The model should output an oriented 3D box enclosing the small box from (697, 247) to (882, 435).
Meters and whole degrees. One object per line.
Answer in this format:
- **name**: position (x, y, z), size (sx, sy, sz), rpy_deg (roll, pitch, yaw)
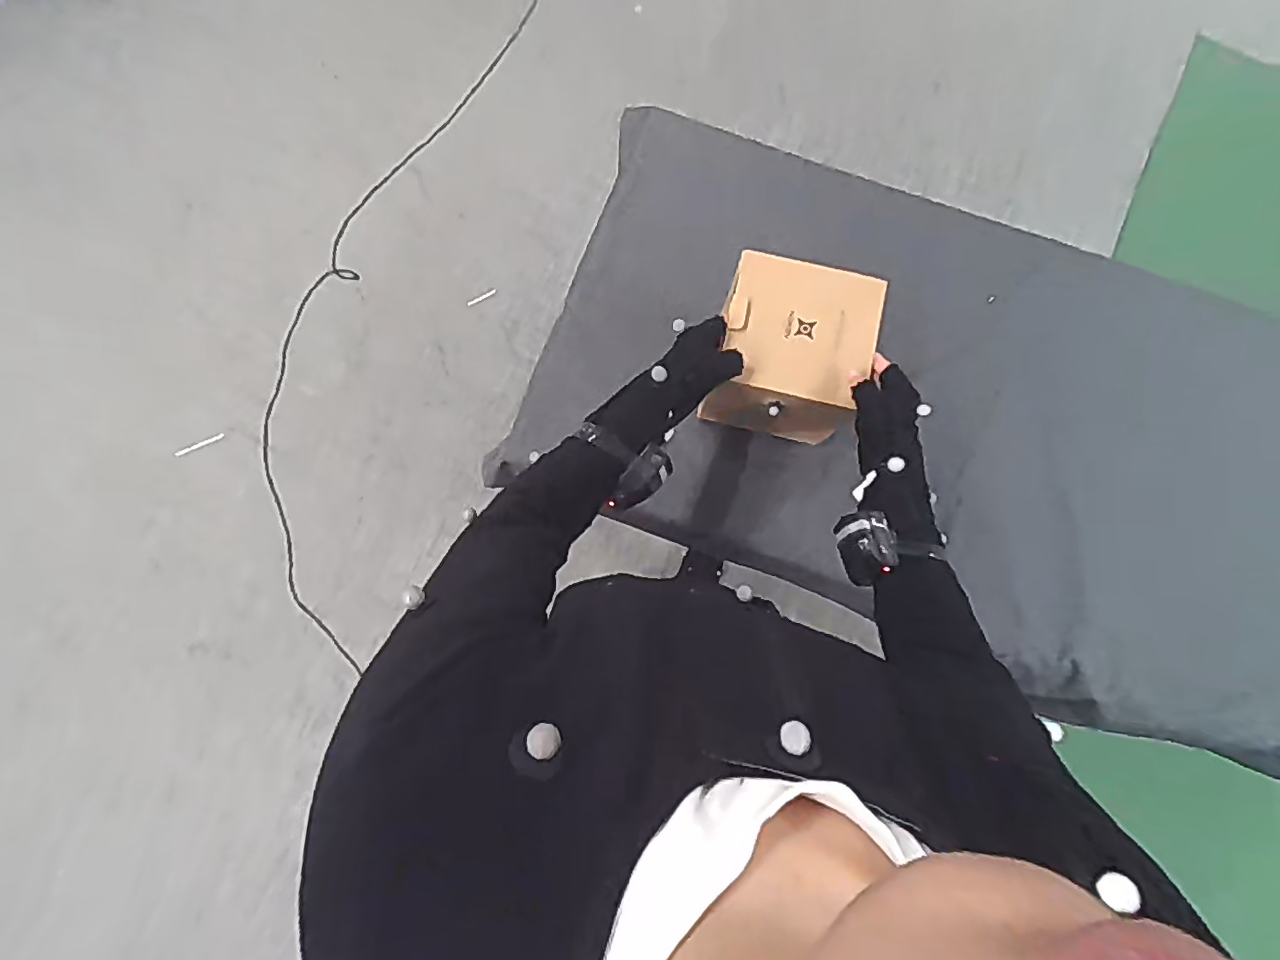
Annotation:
- **small box**: position (0.181, -0.168, 0.705), size (0.179, 0.176, 0.168), rpy_deg (13, 82, 0)
